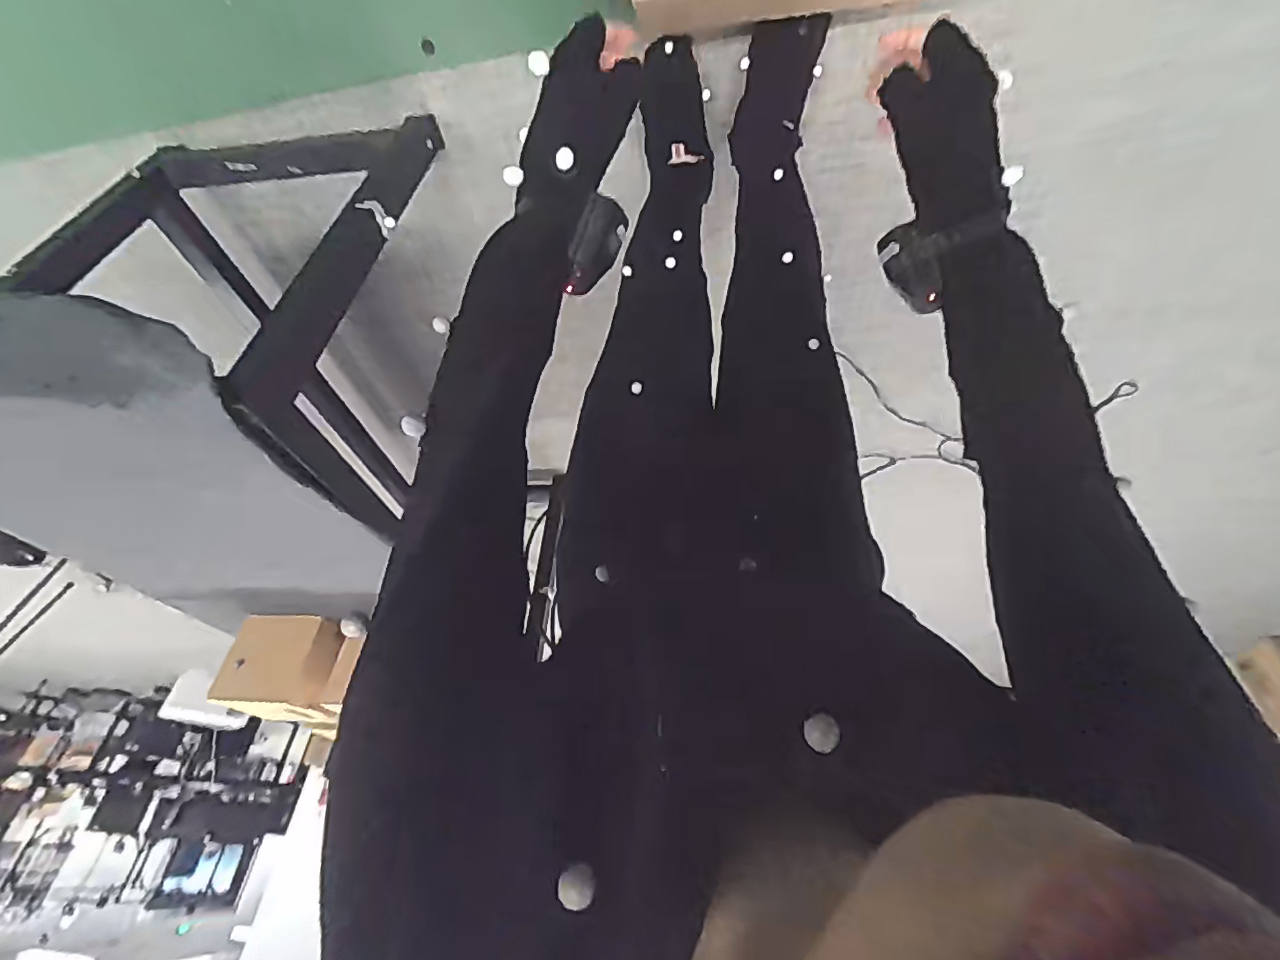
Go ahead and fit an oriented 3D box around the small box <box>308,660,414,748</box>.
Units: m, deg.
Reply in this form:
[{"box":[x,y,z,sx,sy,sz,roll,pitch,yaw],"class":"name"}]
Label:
[{"box":[-0.647,0.540,1.308,0.179,0.176,0.168,0,144,8],"class":"small box"}]
